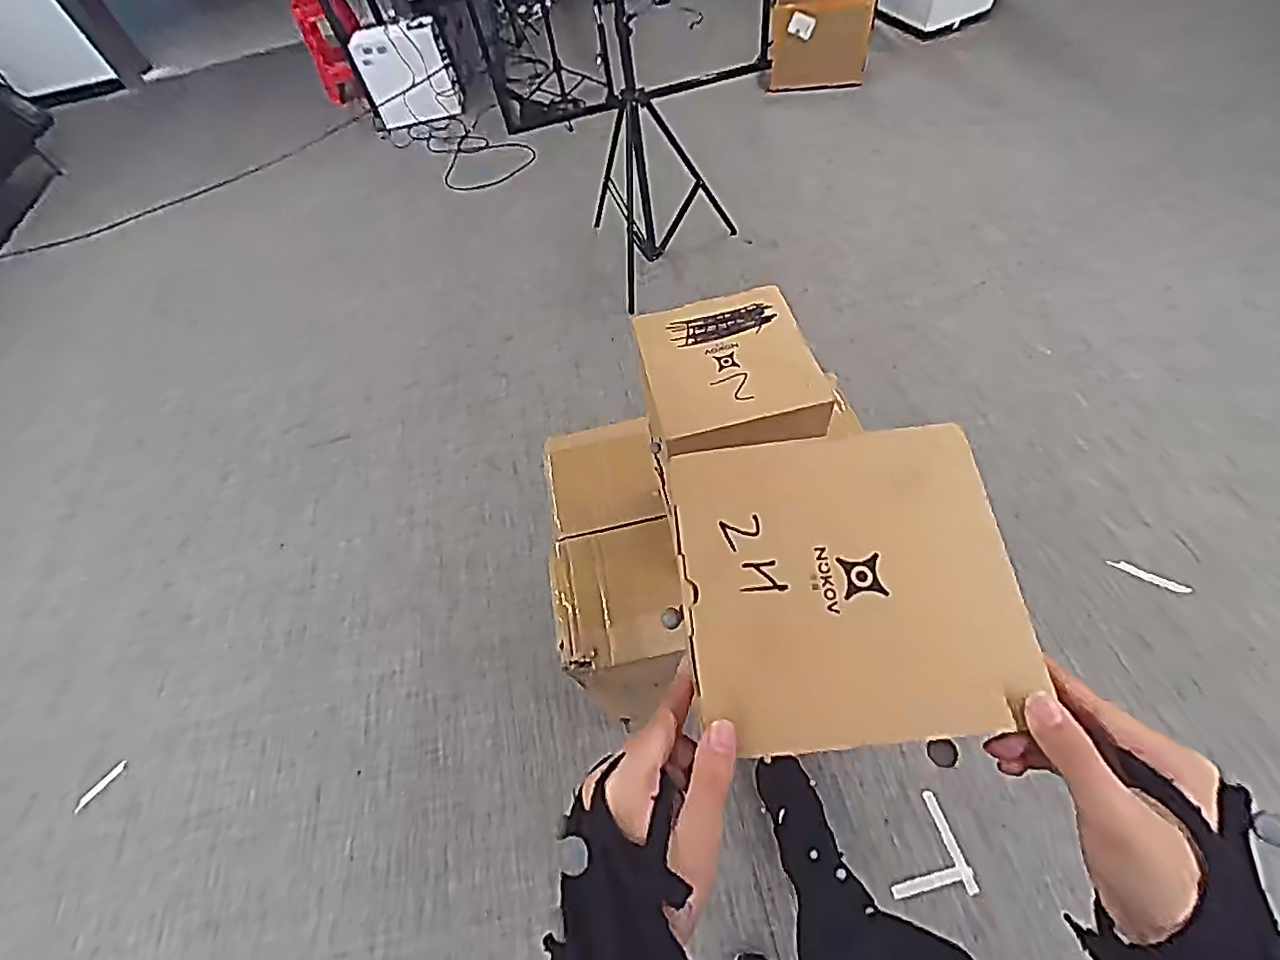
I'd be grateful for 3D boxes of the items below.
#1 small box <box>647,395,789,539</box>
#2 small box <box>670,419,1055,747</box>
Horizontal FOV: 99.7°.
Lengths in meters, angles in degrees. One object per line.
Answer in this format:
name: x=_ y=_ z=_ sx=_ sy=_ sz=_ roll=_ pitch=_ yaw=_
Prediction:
small box: x=0.118 y=0.013 z=0.750 sx=0.179 sy=0.176 sz=0.168 roll=-13 pitch=57 yaw=0
small box: x=0.115 y=0.076 z=0.366 sx=0.179 sy=0.176 sz=0.168 roll=-7 pitch=68 yaw=3
